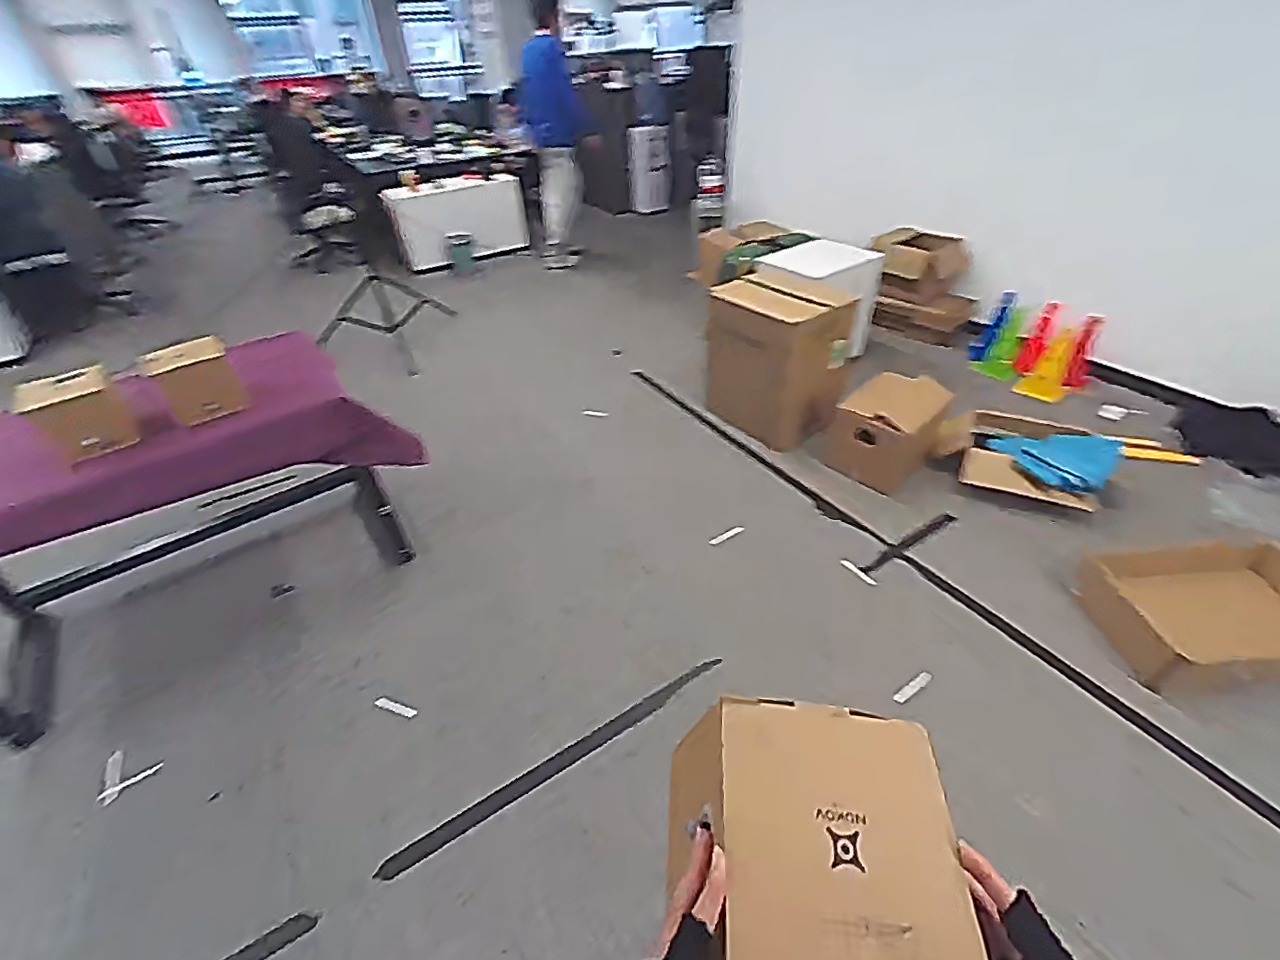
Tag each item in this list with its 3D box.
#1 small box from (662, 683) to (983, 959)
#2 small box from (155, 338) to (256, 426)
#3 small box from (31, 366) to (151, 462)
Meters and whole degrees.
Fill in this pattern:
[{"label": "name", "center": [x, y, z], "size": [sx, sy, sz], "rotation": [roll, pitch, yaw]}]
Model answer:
[{"label": "small box", "center": [0.114, 0.283, 0.416], "size": [0.168, 0.176, 0.179], "rotation": [9, 48, -5]}, {"label": "small box", "center": [-1.245, -0.284, 1.561], "size": [0.179, 0.176, 0.168], "rotation": [-28, 45, -27]}, {"label": "small box", "center": [-1.456, -0.176, 1.445], "size": [0.168, 0.176, 0.179], "rotation": [-29, 46, -28]}]
